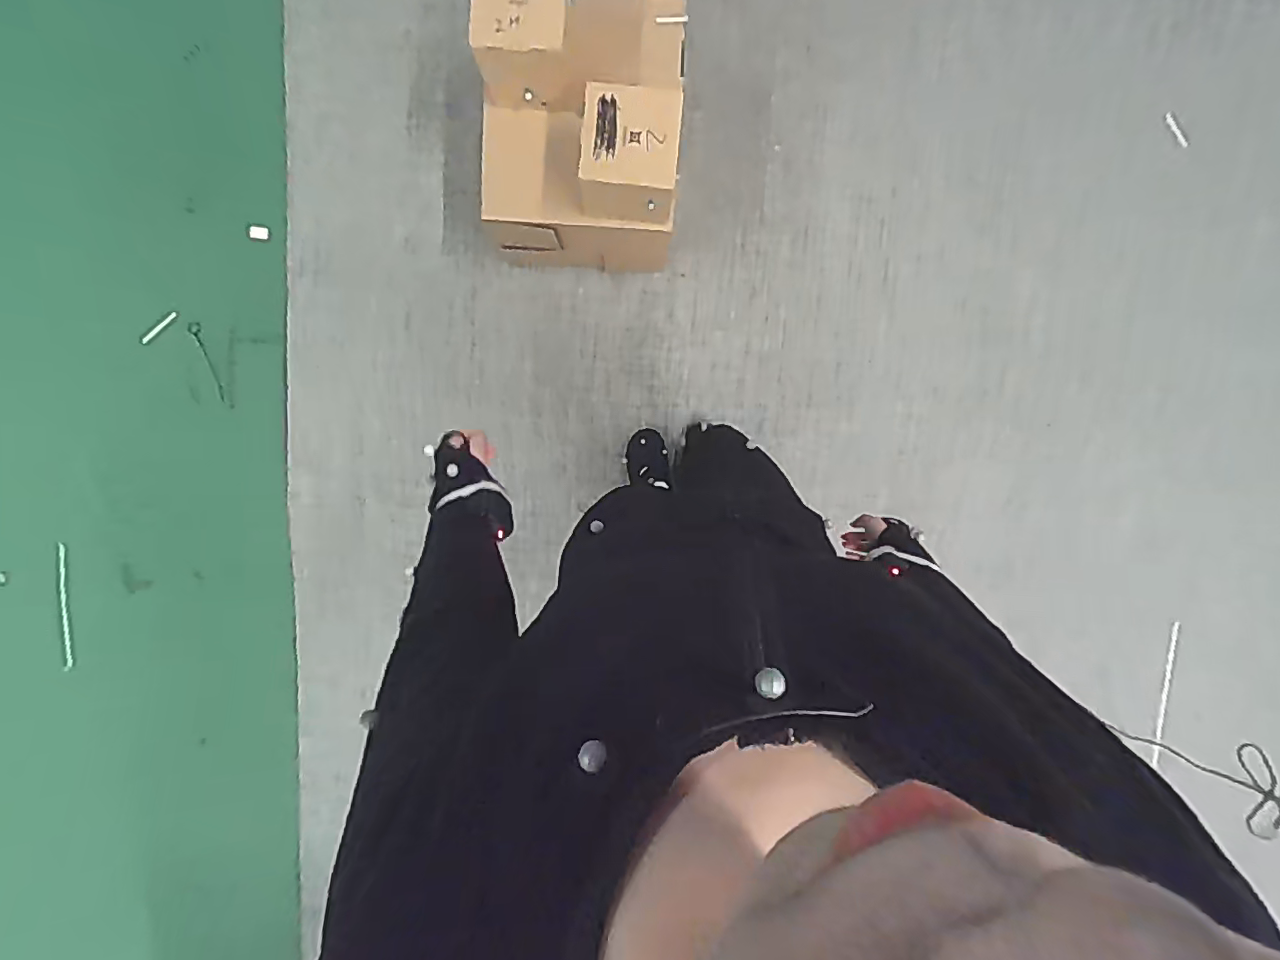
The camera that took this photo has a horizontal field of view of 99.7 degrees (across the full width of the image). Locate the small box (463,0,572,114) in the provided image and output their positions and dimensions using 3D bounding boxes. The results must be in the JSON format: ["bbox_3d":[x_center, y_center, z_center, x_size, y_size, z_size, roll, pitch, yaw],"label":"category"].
[{"bbox_3d":[-0.221,-0.834,1.015,0.168,0.176,0.179,3,93,0],"label":"small box"}]
